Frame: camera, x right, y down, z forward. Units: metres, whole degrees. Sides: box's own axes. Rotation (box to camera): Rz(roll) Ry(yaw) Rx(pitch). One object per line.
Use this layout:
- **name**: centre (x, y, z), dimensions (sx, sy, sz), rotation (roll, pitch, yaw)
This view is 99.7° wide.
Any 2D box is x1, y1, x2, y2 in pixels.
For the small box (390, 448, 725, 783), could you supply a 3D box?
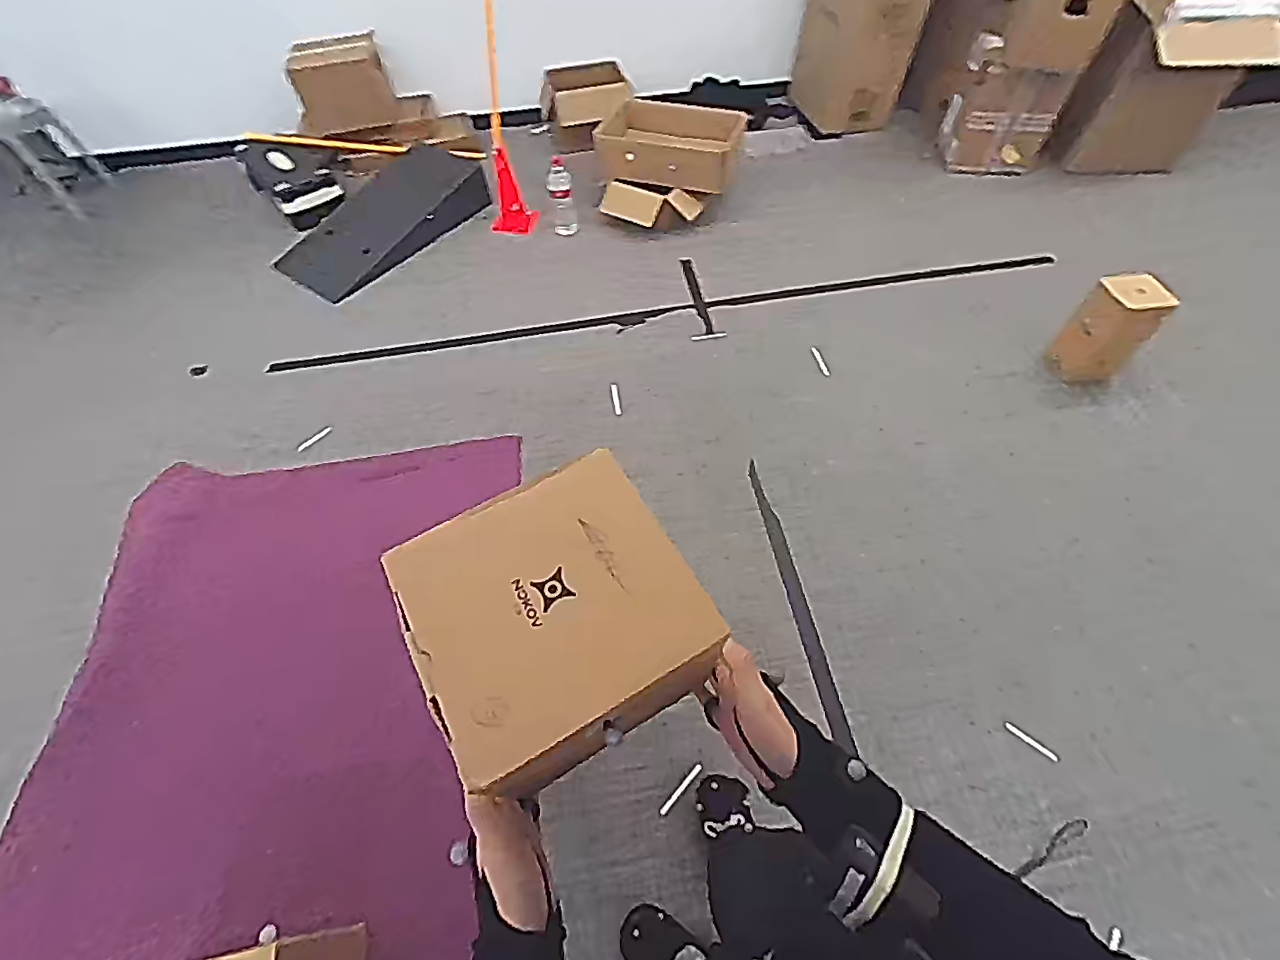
- **small box**: centre (-0.056, 0.113, 0.421), dimensions (0.179, 0.176, 0.168), rotation (-27, 63, -15)

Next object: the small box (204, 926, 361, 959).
- **small box**: centre (-0.362, 0.518, 0.464), dimensions (0.168, 0.176, 0.179), rotation (-11, 55, -5)

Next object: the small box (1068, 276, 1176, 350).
- **small box**: centre (1.612, -0.559, 1.820), dimensions (0.179, 0.176, 0.168), rotation (-6, 55, -1)
